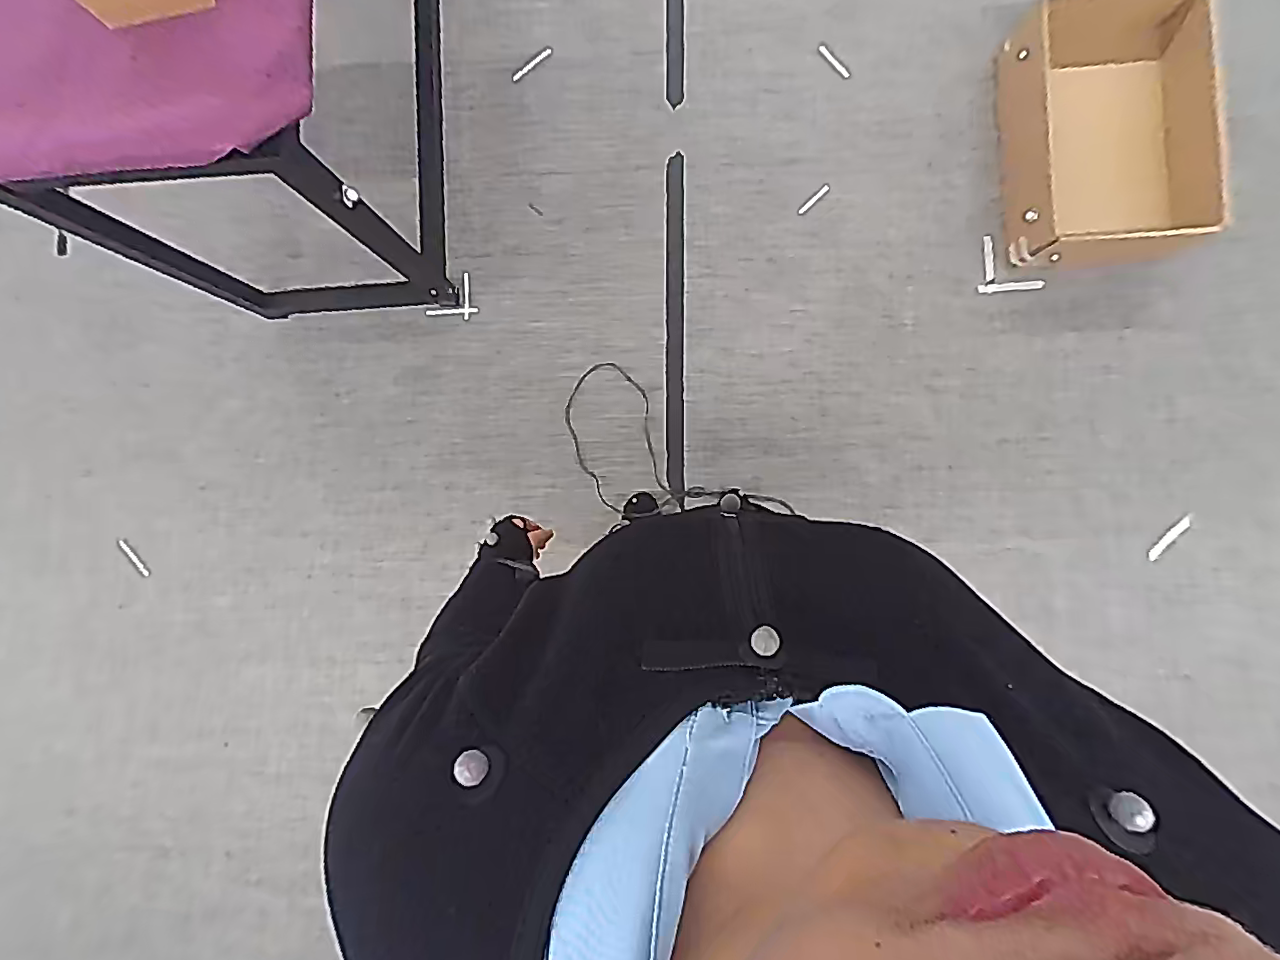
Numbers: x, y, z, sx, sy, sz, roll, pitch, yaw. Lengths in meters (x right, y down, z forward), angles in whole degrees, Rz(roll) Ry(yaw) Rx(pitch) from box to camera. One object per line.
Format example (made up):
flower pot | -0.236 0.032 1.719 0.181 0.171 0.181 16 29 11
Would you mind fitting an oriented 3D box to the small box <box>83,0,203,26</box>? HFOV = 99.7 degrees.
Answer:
small box | -0.760 -0.805 0.769 0.179 0.176 0.168 -10 88 3
